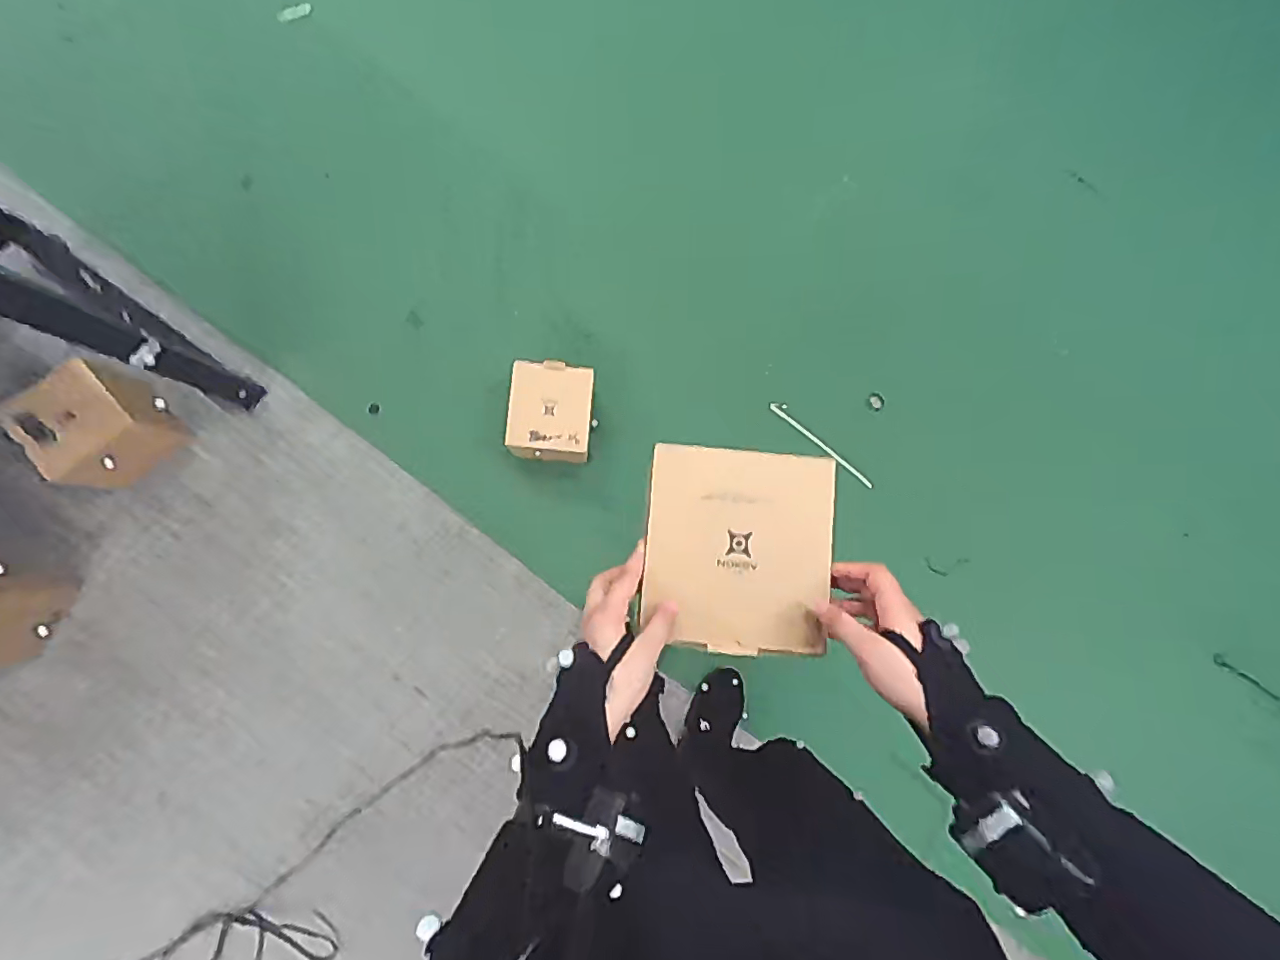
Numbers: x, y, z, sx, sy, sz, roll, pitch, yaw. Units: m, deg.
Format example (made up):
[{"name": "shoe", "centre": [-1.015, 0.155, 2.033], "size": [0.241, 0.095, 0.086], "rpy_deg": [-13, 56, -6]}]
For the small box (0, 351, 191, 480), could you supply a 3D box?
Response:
[{"name": "small box", "centre": [-1.055, -0.117, 1.062], "size": [0.179, 0.176, 0.168], "rpy_deg": [-39, 91, -9]}]

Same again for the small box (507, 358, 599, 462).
[{"name": "small box", "centre": [-0.183, -0.143, 1.161], "size": [0.168, 0.176, 0.179], "rpy_deg": [6, 84, -5]}]

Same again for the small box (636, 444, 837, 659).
[{"name": "small box", "centre": [0.085, 0.069, 0.552], "size": [0.168, 0.176, 0.179], "rpy_deg": [5, 84, -2]}]
